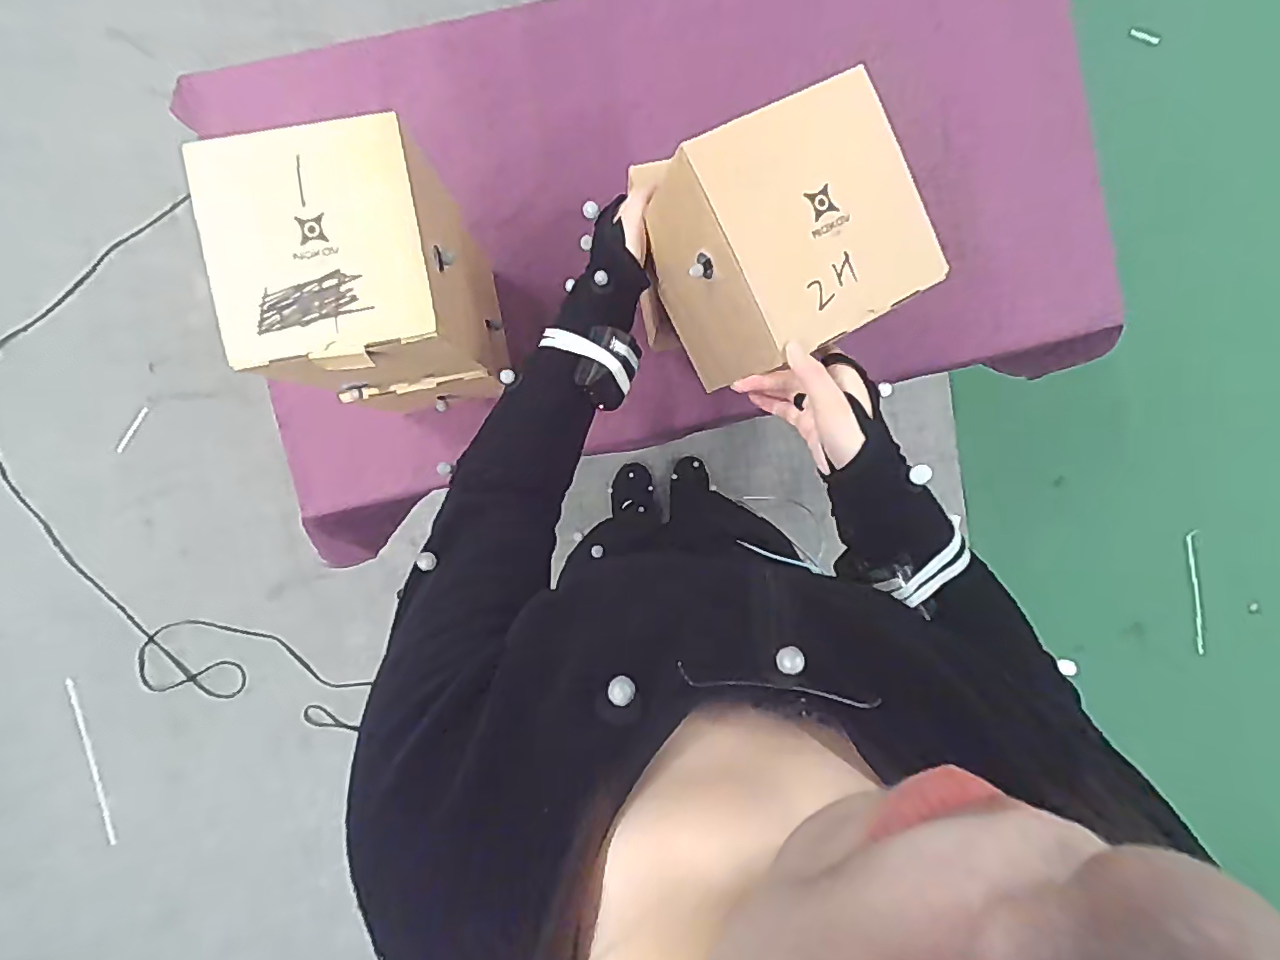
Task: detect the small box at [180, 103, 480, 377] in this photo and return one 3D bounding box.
[{"bbox_3d":[-0.257,-0.195,0.495,0.168,0.176,0.179,-9,93,-3],"label":"small box"}]

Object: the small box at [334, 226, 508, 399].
[{"bbox_3d":[-0.268,-0.198,0.660,0.168,0.176,0.179,-11,95,-4],"label":"small box"}]

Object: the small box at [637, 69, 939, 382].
[{"bbox_3d":[0.116,-0.205,0.486,0.168,0.176,0.179,-28,99,-11],"label":"small box"}]
